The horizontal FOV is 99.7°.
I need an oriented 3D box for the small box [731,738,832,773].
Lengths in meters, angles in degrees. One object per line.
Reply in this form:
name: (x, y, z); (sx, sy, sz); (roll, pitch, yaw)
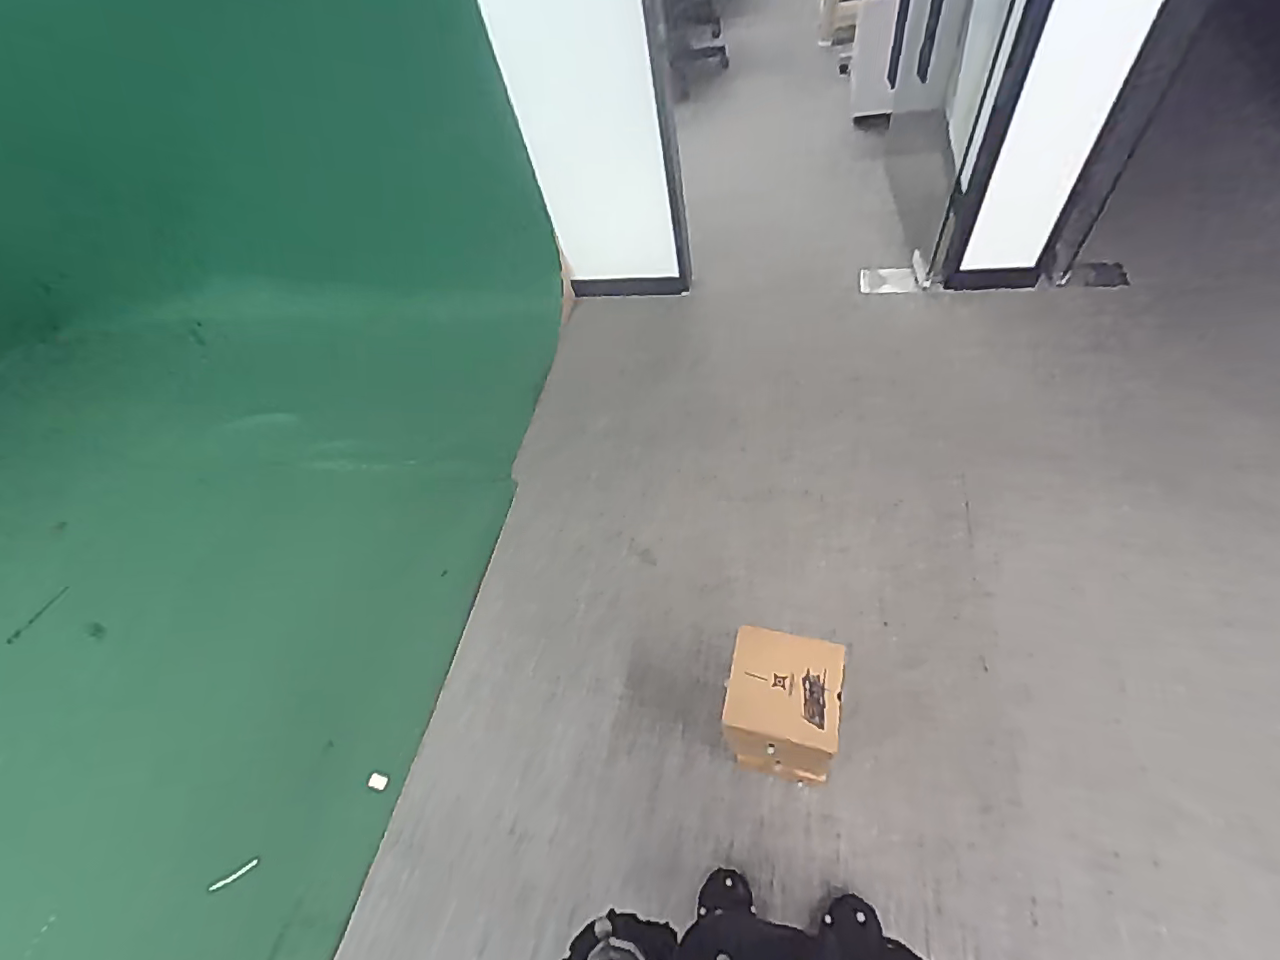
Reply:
small box: (0.282, 0.460, 1.060); (0.179, 0.176, 0.168); (8, 59, 18)

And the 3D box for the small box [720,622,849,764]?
small box: (0.245, 0.369, 0.925); (0.179, 0.176, 0.168); (11, 58, 19)
